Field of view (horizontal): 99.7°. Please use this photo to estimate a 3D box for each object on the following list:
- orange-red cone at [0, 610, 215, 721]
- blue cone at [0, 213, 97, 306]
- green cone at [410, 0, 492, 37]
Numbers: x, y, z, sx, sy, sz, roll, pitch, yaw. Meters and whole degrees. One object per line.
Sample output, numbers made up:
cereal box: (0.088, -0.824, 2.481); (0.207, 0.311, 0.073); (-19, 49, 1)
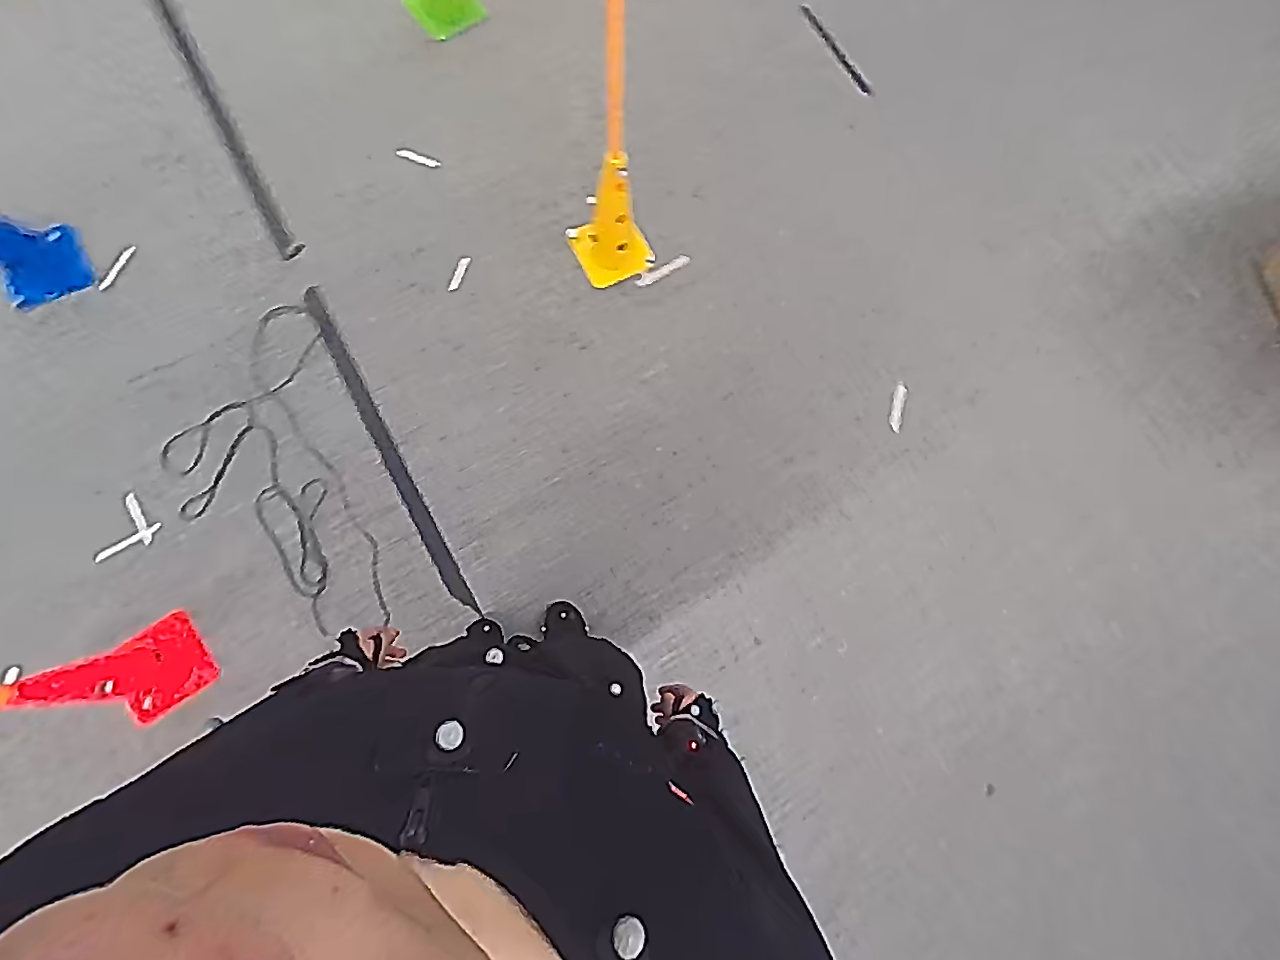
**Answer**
orange-red cone: (-1.112, 0.398, 1.101); (0.199, 0.360, 0.198); (-33, 84, -11)
blue cone: (-1.556, -0.604, 1.281); (0.193, 0.380, 0.192); (-26, 82, -9)
green cone: (-0.580, -1.526, 1.527); (0.200, 0.368, 0.202); (-39, 86, -10)
